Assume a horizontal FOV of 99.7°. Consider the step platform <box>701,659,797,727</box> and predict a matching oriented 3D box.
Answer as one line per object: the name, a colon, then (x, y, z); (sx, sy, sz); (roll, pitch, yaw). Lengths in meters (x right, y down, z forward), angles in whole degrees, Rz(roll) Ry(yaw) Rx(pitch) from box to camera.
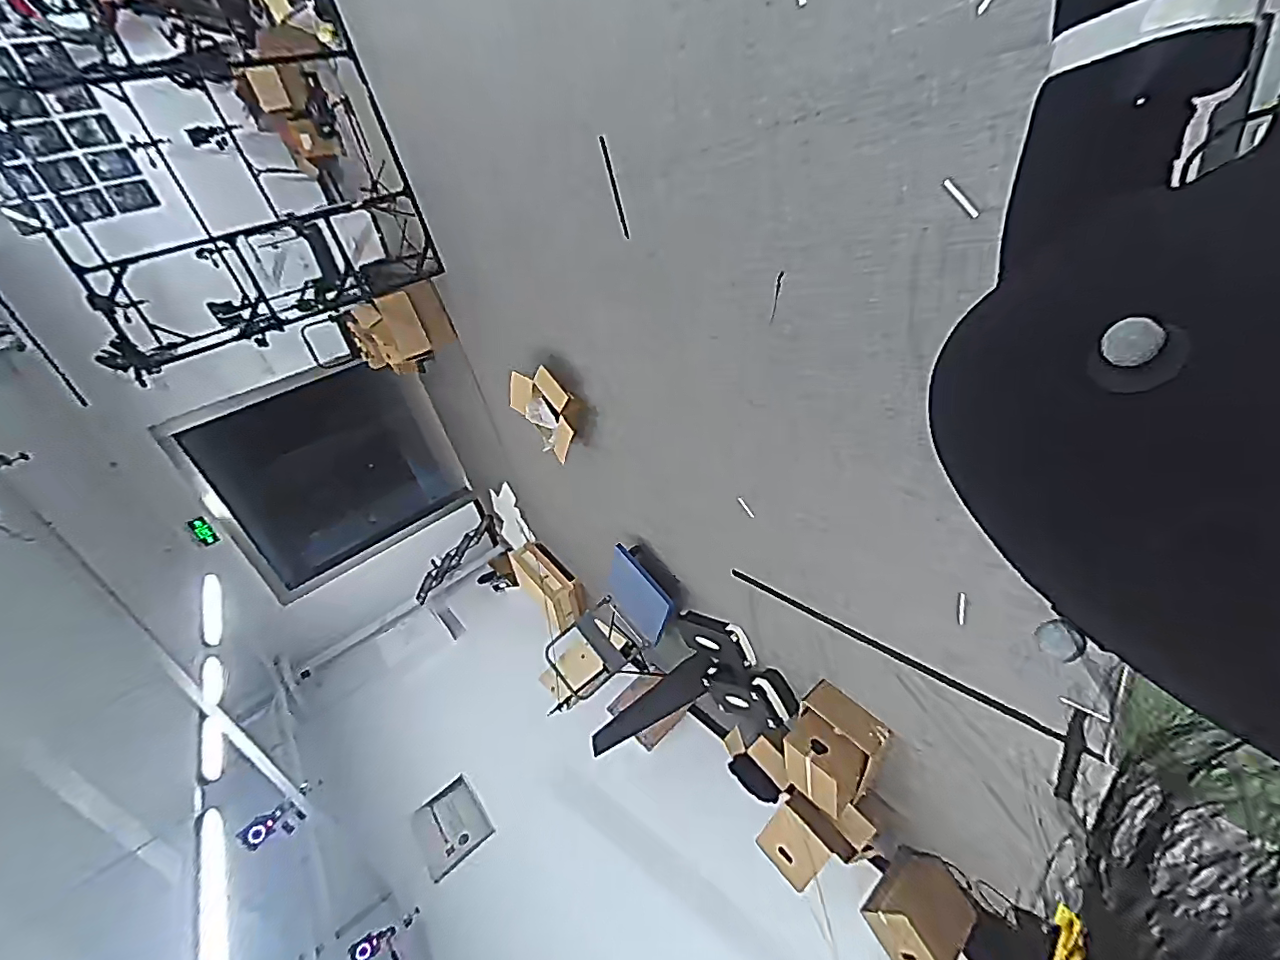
step platform: (0.669, 1.347, 3.443); (0.286, 0.204, 0.684); (59, 152, -2)
